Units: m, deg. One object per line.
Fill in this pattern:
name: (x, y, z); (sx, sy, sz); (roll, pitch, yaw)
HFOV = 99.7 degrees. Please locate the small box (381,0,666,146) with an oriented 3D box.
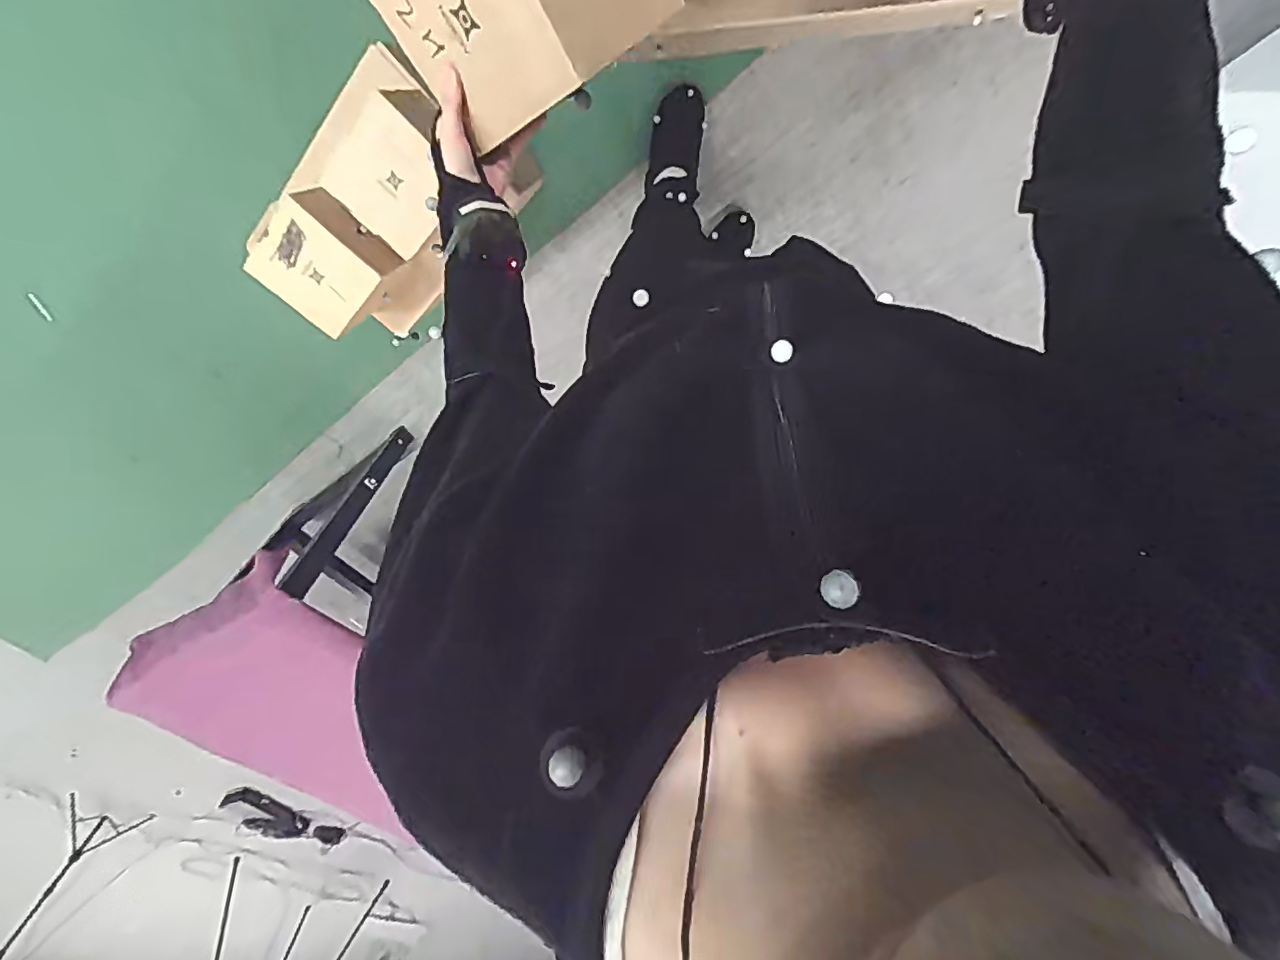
small box: (-0.098, -0.435, 0.463); (0.179, 0.176, 0.168); (7, 142, 45)

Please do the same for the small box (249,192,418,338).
small box: (-0.546, -0.397, 0.984); (0.168, 0.176, 0.179); (-36, 116, 24)

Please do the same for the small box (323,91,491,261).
small box: (-0.374, -0.505, 0.903); (0.179, 0.176, 0.168); (-37, 117, 24)
